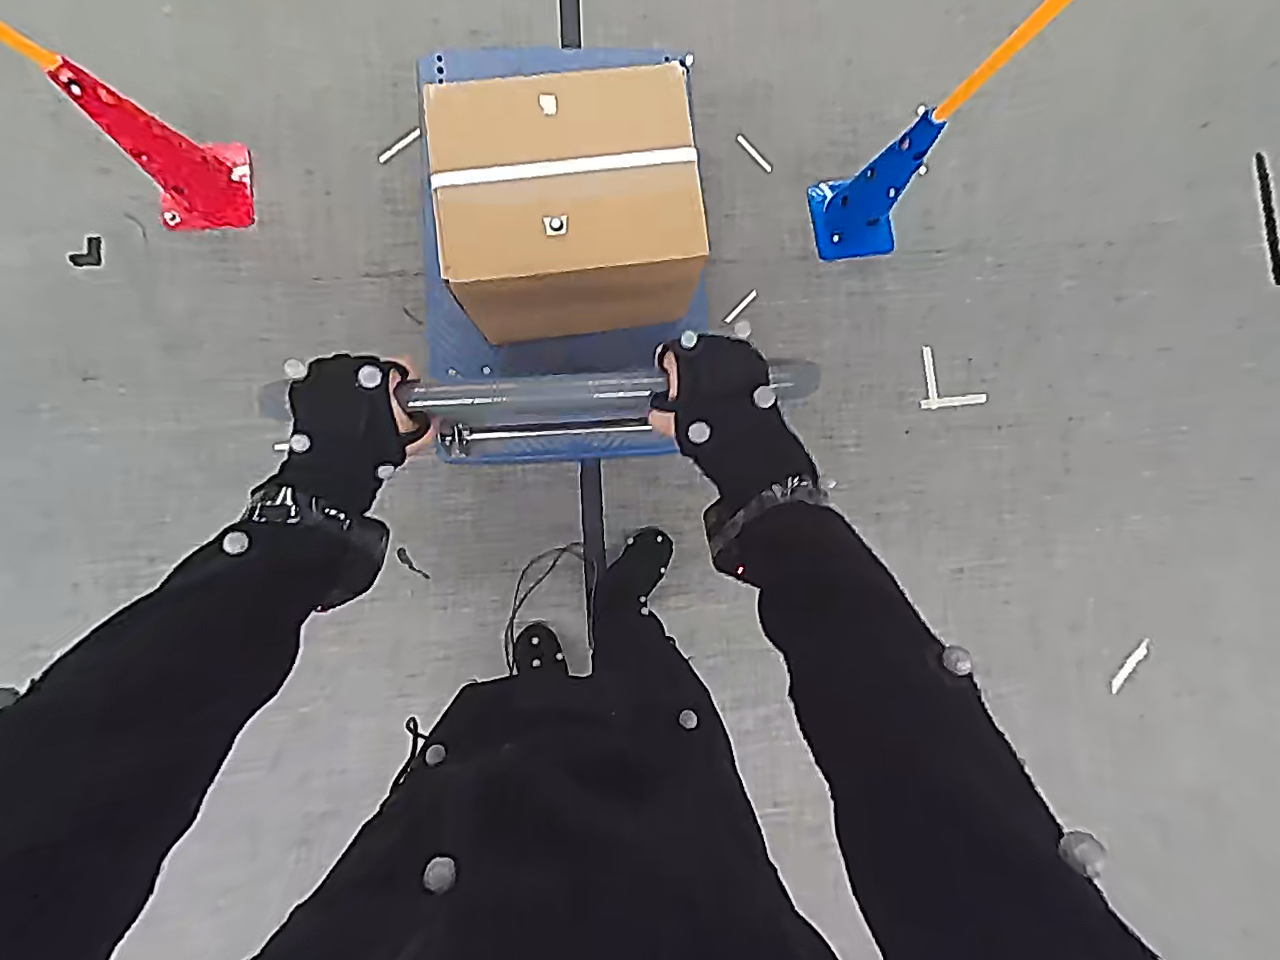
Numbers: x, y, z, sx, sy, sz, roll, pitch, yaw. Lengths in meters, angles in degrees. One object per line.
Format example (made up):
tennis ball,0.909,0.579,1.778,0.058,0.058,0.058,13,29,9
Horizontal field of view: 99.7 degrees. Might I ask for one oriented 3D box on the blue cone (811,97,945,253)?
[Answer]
blue cone,0.545,-0.677,1.193,0.193,0.380,0.192,-8,86,-5
